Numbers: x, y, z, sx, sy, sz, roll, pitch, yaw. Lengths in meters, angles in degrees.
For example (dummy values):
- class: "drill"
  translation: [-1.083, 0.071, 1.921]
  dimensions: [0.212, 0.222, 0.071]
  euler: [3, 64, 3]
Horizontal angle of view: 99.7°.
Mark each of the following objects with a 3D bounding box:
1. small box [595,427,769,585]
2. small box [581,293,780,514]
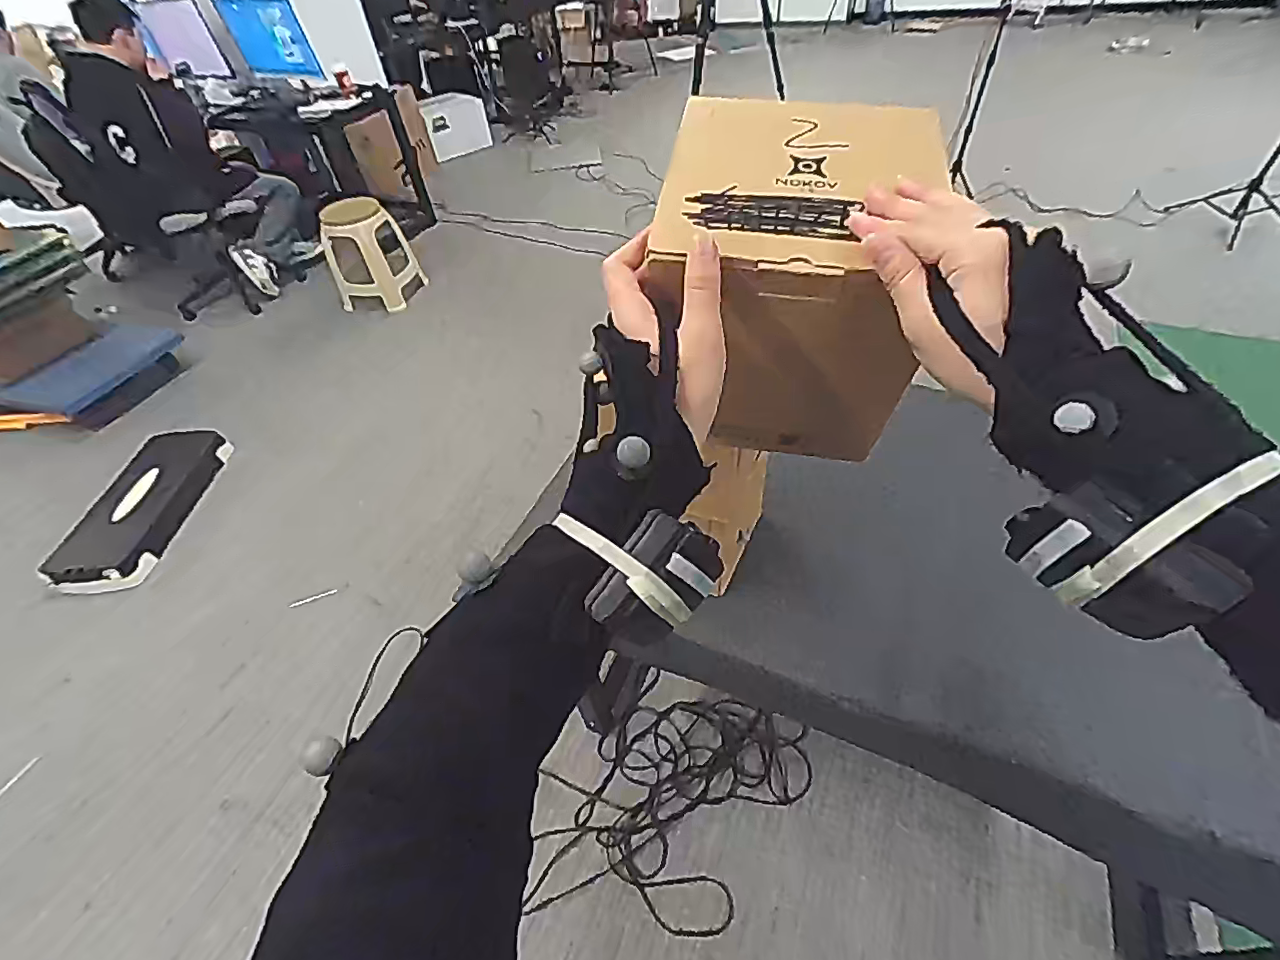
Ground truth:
- class: "small box"
  translation: [0.060, 0.017, 0.745]
  dimensions: [0.179, 0.176, 0.168]
  euler: [19, 51, 21]
- class: "small box"
  translation: [0.052, -0.087, 0.621]
  dimensions: [0.168, 0.176, 0.179]
  euler: [15, 49, 16]
